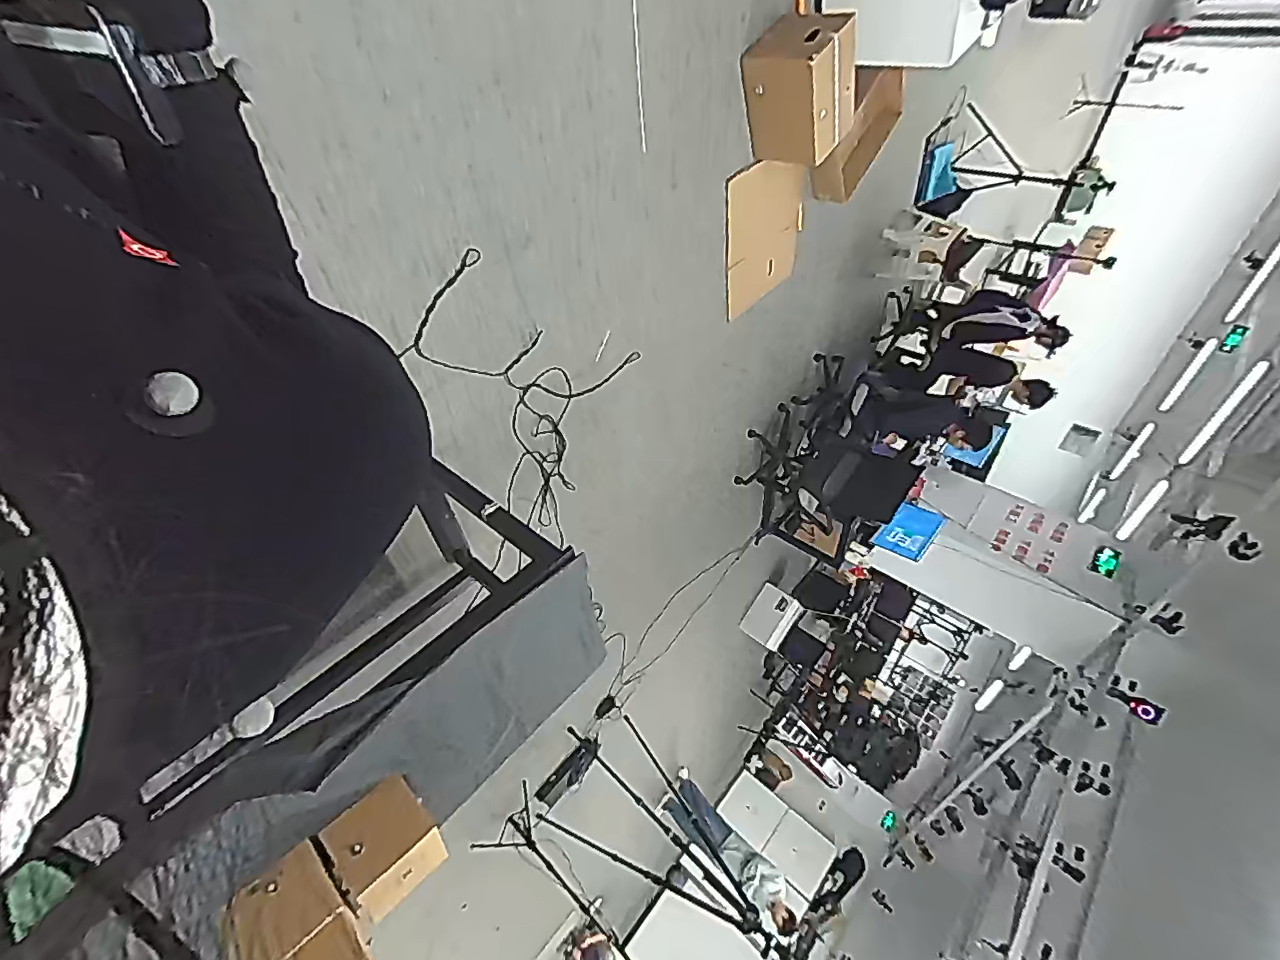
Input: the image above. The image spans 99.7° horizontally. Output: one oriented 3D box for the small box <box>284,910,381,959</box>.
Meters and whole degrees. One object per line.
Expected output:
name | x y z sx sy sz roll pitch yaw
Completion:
small box | -0.558 0.932 0.968 0.179 0.176 0.168 -30 137 -38
